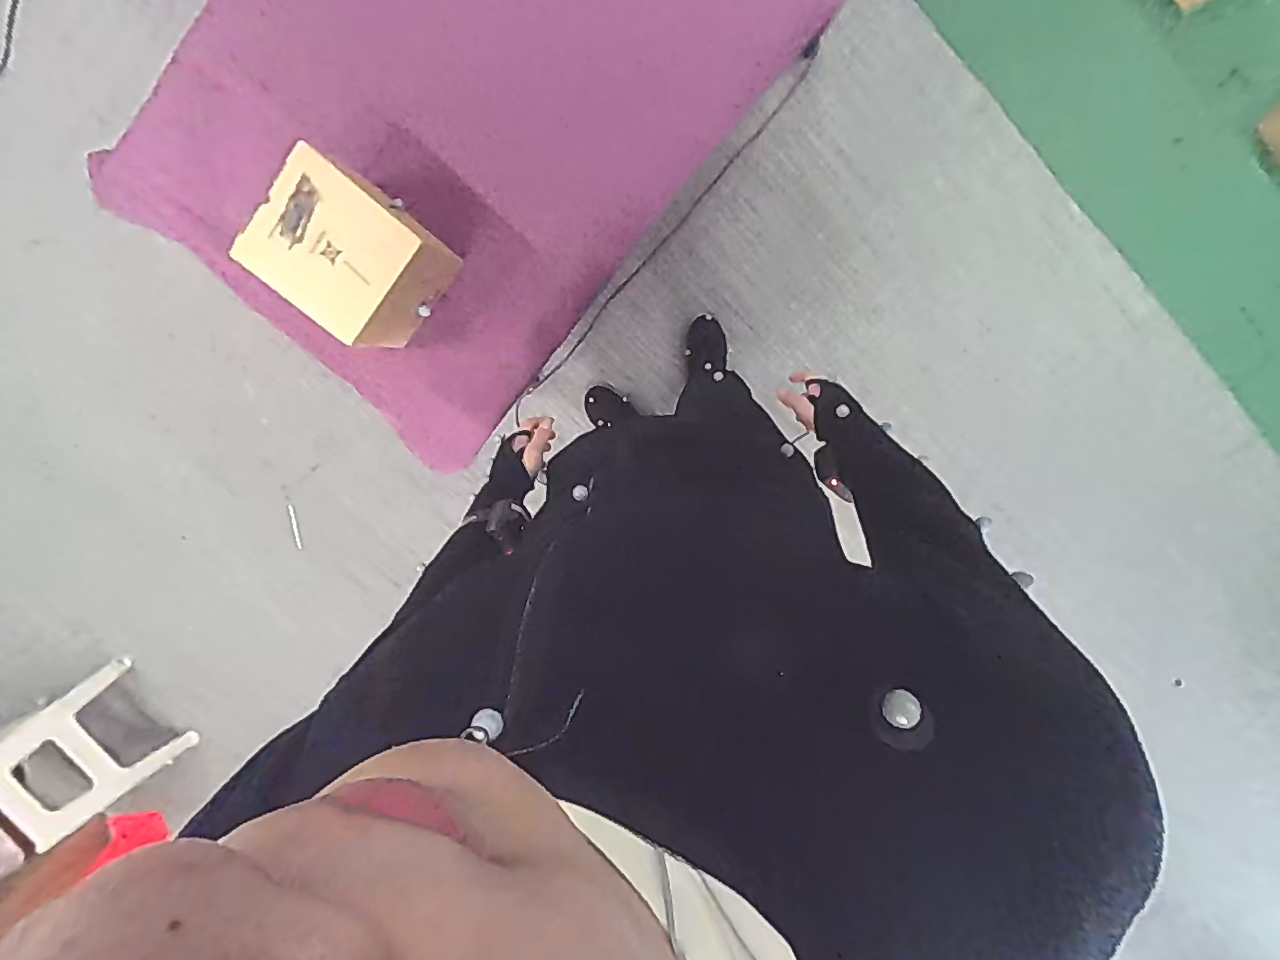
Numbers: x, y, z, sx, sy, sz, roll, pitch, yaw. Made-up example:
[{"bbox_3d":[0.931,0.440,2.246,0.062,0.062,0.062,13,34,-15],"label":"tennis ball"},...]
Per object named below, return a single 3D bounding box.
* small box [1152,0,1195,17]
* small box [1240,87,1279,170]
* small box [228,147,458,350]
[{"bbox_3d":[1.338,-1.266,1.274,0.168,0.176,0.179,42,98,-9],"label":"small box"},{"bbox_3d":[1.699,-0.926,1.356,0.168,0.176,0.179,43,99,-10],"label":"small box"},{"bbox_3d":[-0.380,-0.289,0.725,0.179,0.176,0.168,39,100,-10],"label":"small box"}]
